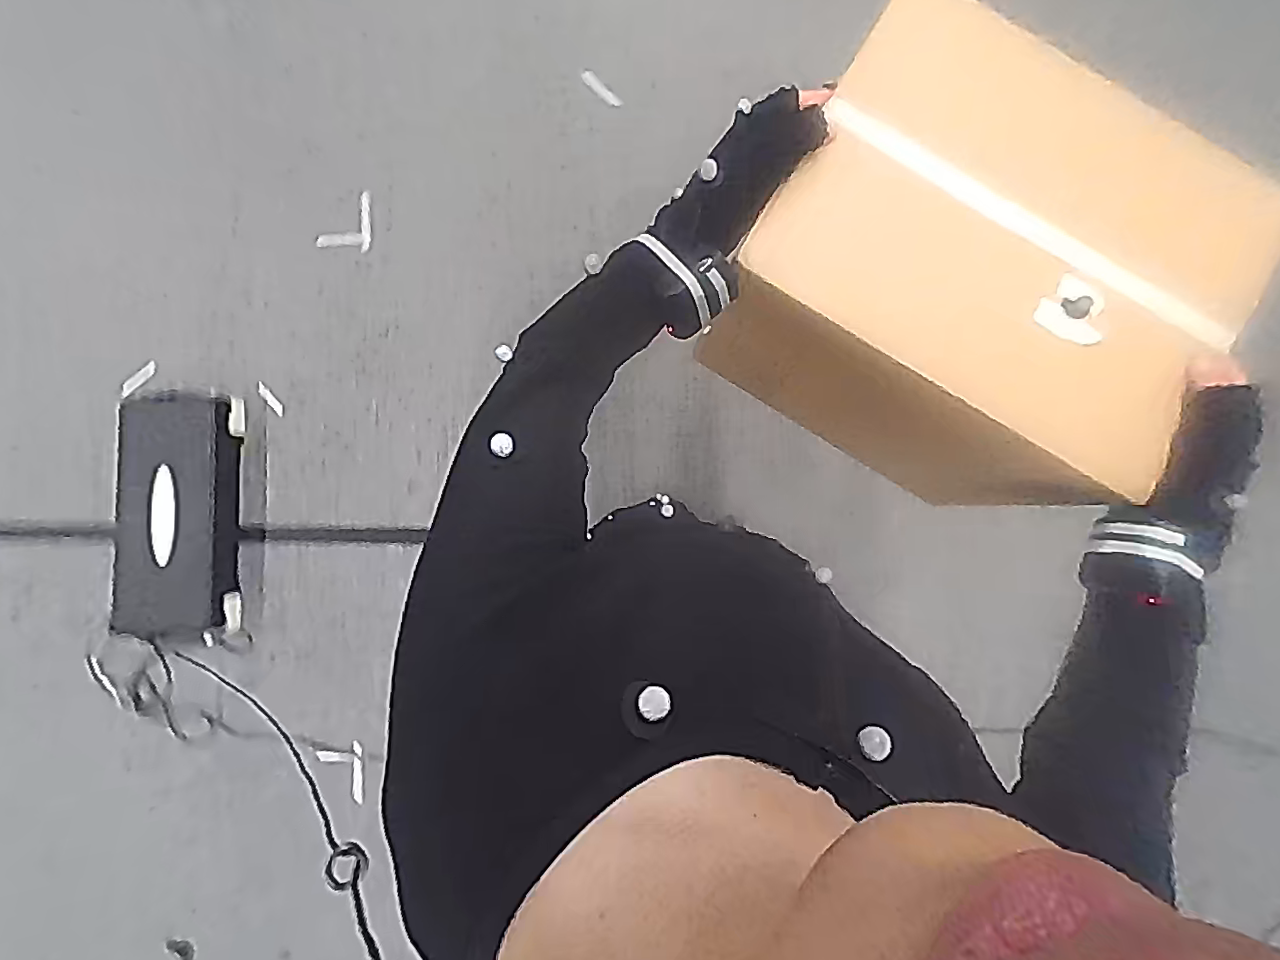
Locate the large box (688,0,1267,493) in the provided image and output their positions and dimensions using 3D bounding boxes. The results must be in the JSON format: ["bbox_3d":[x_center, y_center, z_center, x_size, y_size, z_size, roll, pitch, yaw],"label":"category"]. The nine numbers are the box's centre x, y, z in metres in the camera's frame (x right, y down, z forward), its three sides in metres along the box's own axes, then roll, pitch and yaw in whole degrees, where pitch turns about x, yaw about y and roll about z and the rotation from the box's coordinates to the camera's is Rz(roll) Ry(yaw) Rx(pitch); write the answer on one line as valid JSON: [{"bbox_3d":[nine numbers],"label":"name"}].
[{"bbox_3d":[0.314,-0.215,0.623,0.408,0.320,0.320,30,87,0],"label":"large box"}]
